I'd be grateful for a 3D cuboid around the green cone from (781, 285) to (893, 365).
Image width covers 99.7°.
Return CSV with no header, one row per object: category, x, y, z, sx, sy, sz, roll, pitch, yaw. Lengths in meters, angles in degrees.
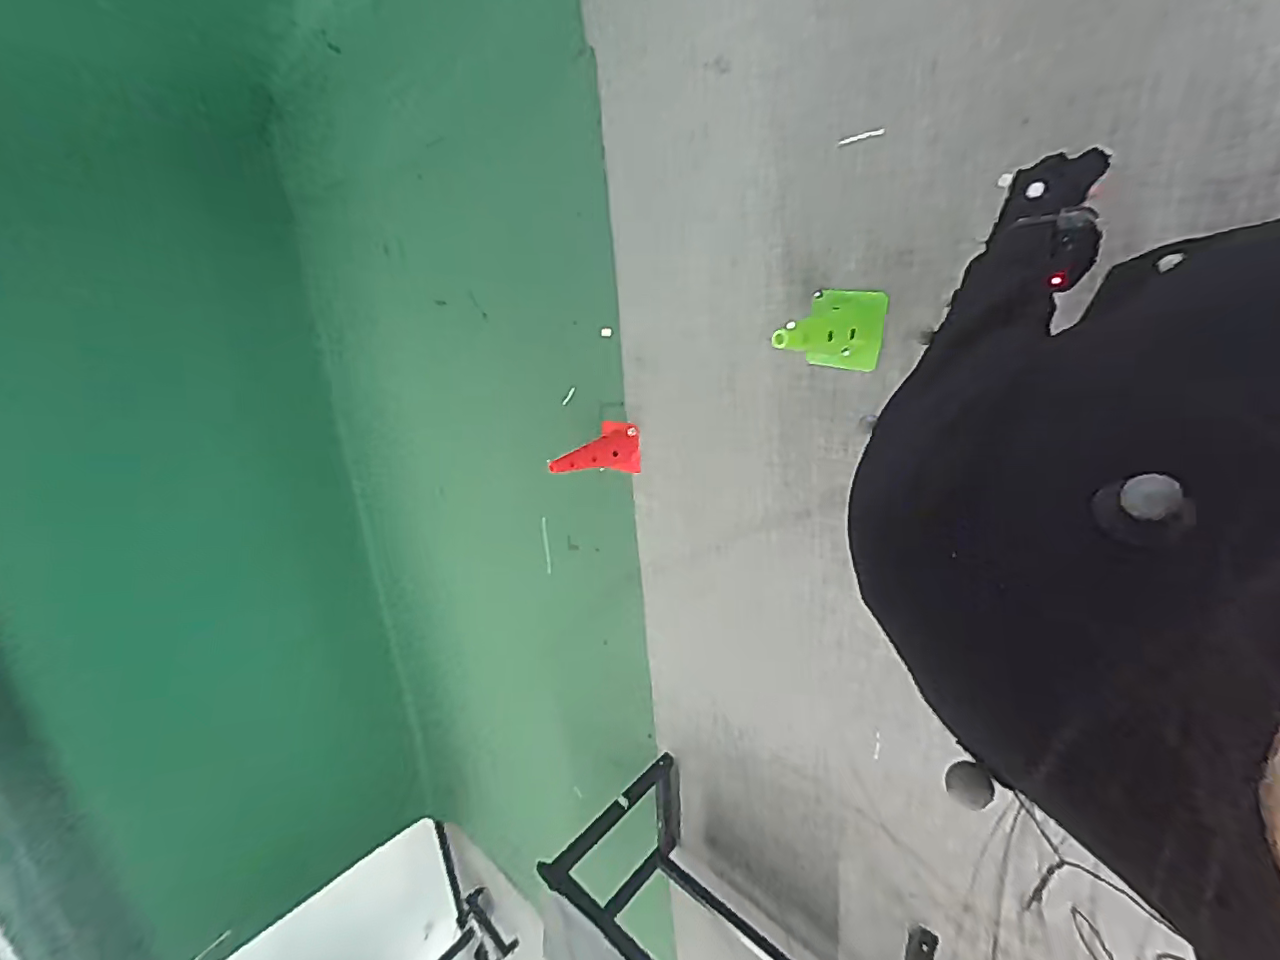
green cone,0.447,-0.374,1.329,0.202,0.368,0.200,18,117,39
